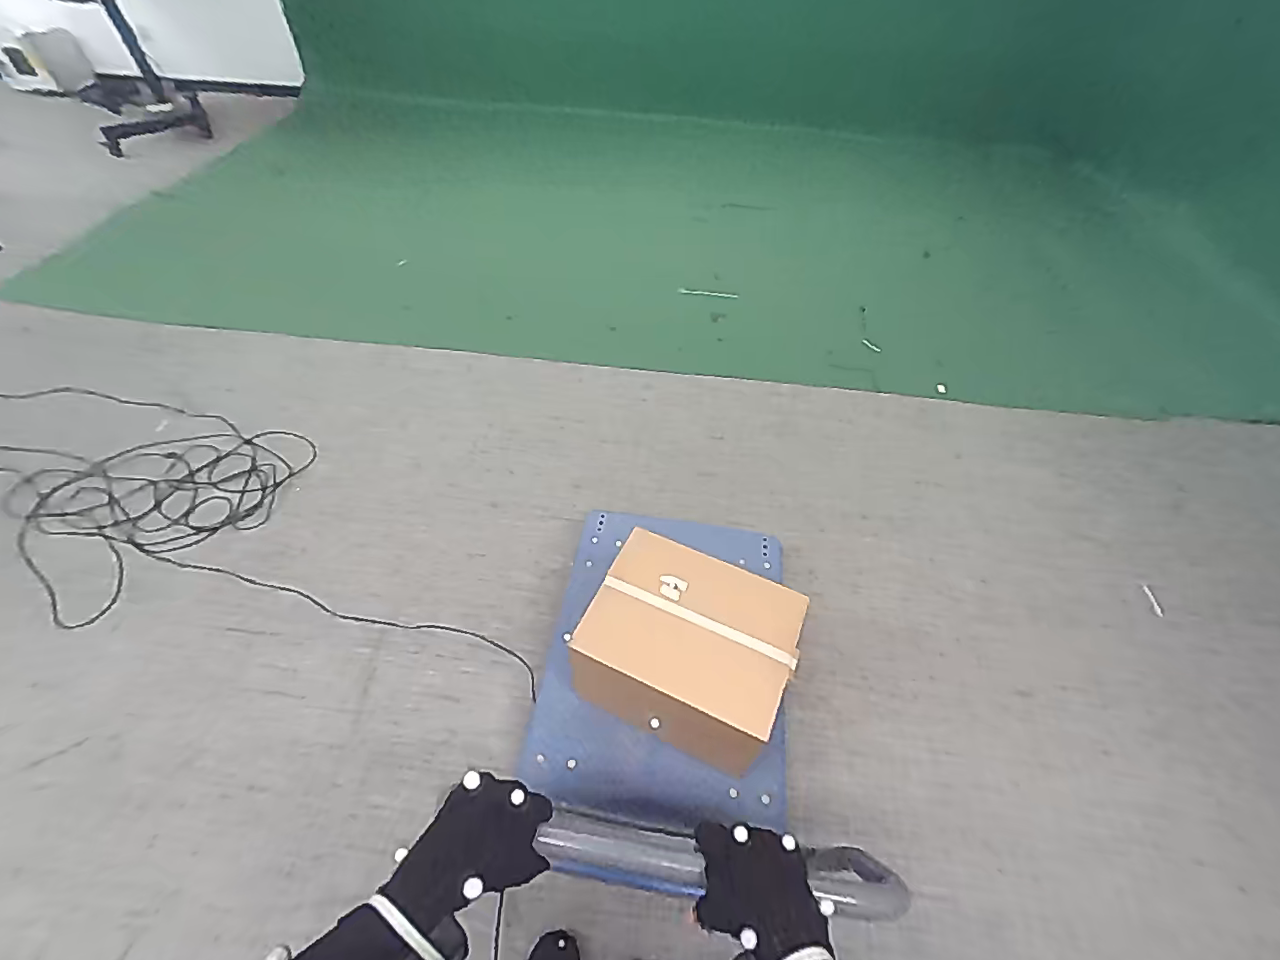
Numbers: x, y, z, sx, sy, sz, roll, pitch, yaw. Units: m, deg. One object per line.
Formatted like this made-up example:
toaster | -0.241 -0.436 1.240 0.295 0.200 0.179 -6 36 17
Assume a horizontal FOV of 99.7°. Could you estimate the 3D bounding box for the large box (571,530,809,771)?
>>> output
large box | 0.109 0.375 1.190 0.408 0.320 0.320 20 53 15
